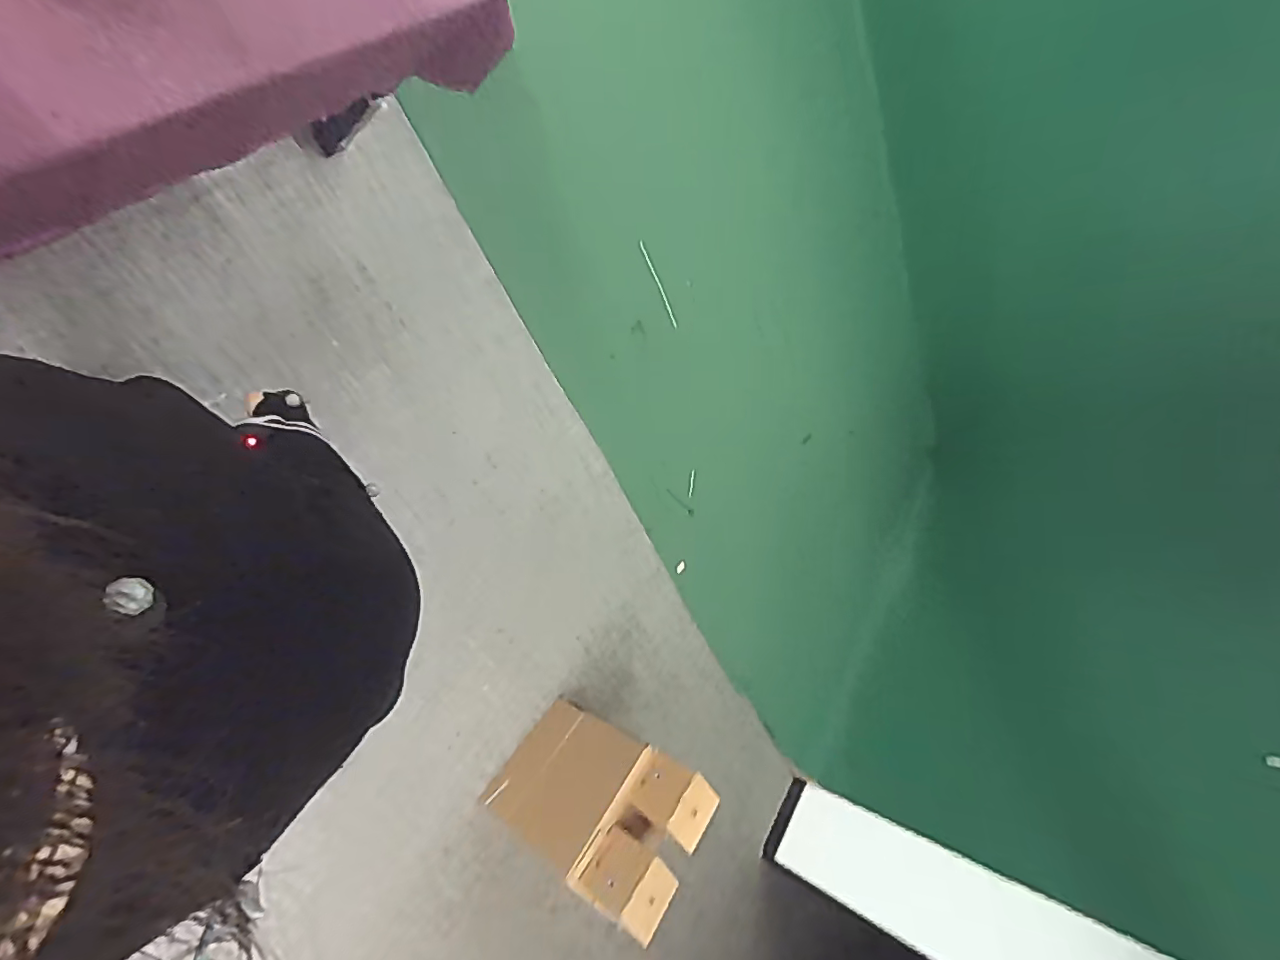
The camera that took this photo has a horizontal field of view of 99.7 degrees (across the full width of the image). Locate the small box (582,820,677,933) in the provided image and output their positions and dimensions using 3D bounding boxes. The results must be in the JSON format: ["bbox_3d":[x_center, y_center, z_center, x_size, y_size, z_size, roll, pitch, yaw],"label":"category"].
[{"bbox_3d":[-0.031,1.088,1.499,0.168,0.176,0.179,-46,125,-33],"label":"small box"}]

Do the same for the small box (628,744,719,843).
[{"bbox_3d":[0.099,0.927,1.614,0.168,0.176,0.179,-48,123,-28],"label":"small box"}]
